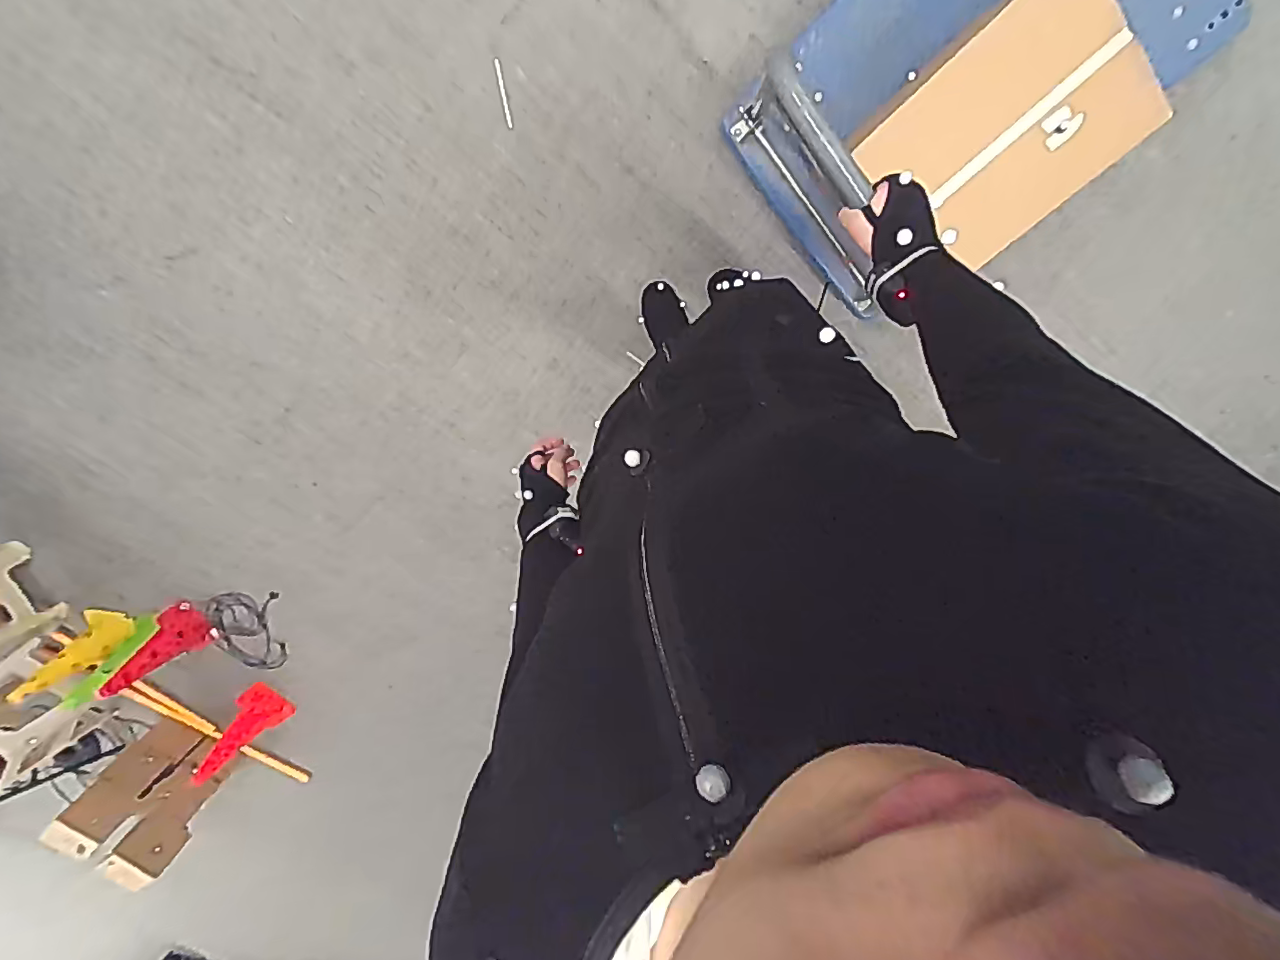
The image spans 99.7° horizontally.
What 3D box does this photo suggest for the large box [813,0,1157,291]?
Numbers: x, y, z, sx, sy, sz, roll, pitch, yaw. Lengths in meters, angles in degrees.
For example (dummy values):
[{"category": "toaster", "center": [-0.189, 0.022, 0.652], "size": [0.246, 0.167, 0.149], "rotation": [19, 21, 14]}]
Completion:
[{"category": "large box", "center": [0.616, -0.632, 1.050], "size": [0.408, 0.320, 0.320], "rotation": [-40, 106, 18]}]
